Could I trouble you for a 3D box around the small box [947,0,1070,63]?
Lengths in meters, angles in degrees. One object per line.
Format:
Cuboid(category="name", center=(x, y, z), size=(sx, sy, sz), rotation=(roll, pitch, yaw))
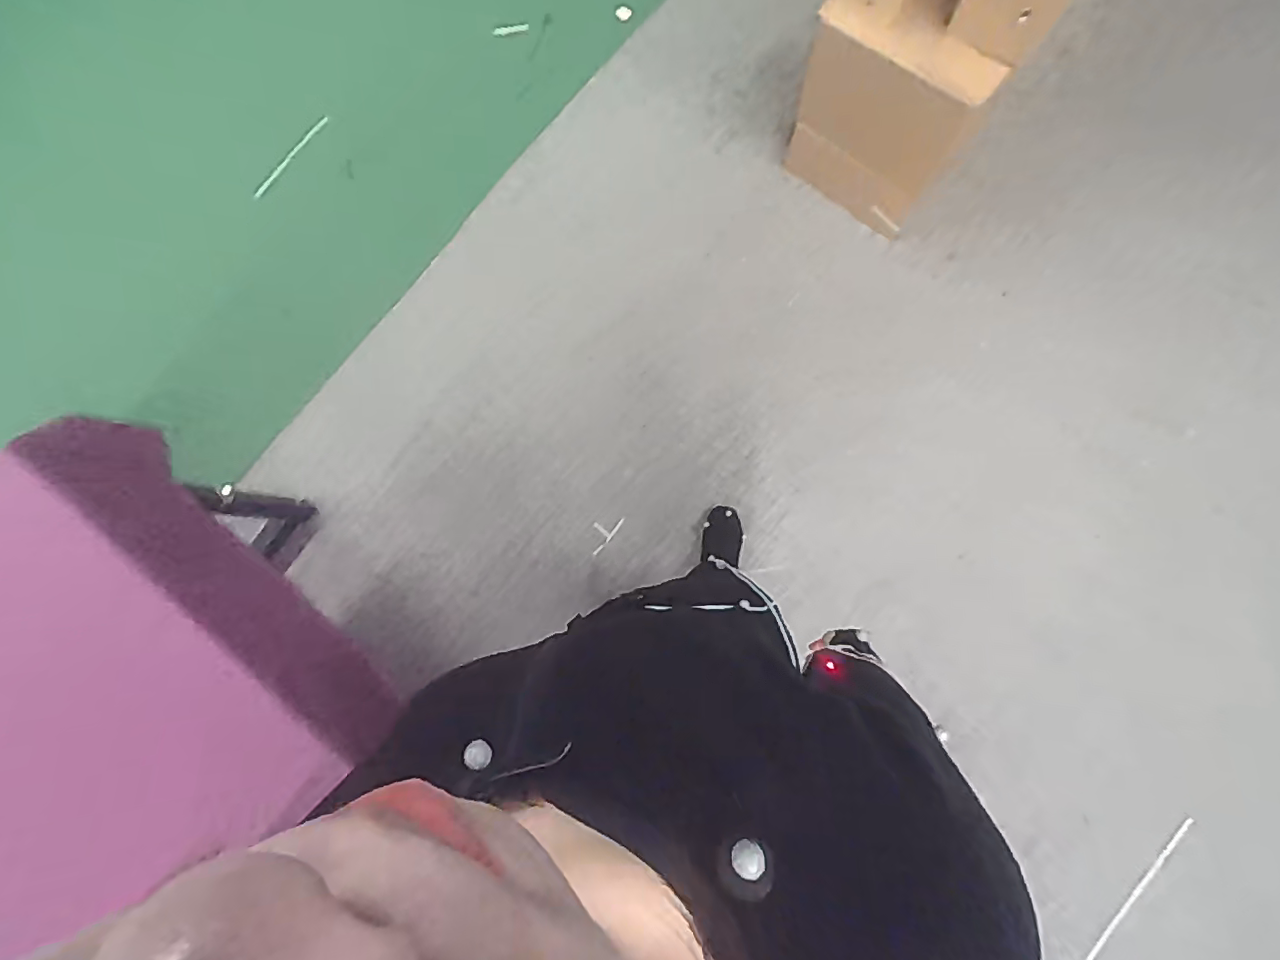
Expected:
Cuboid(category="small box", center=(0.752, -0.972, 1.056), size=(0.179, 0.176, 0.168), rotation=(38, 86, 10))
